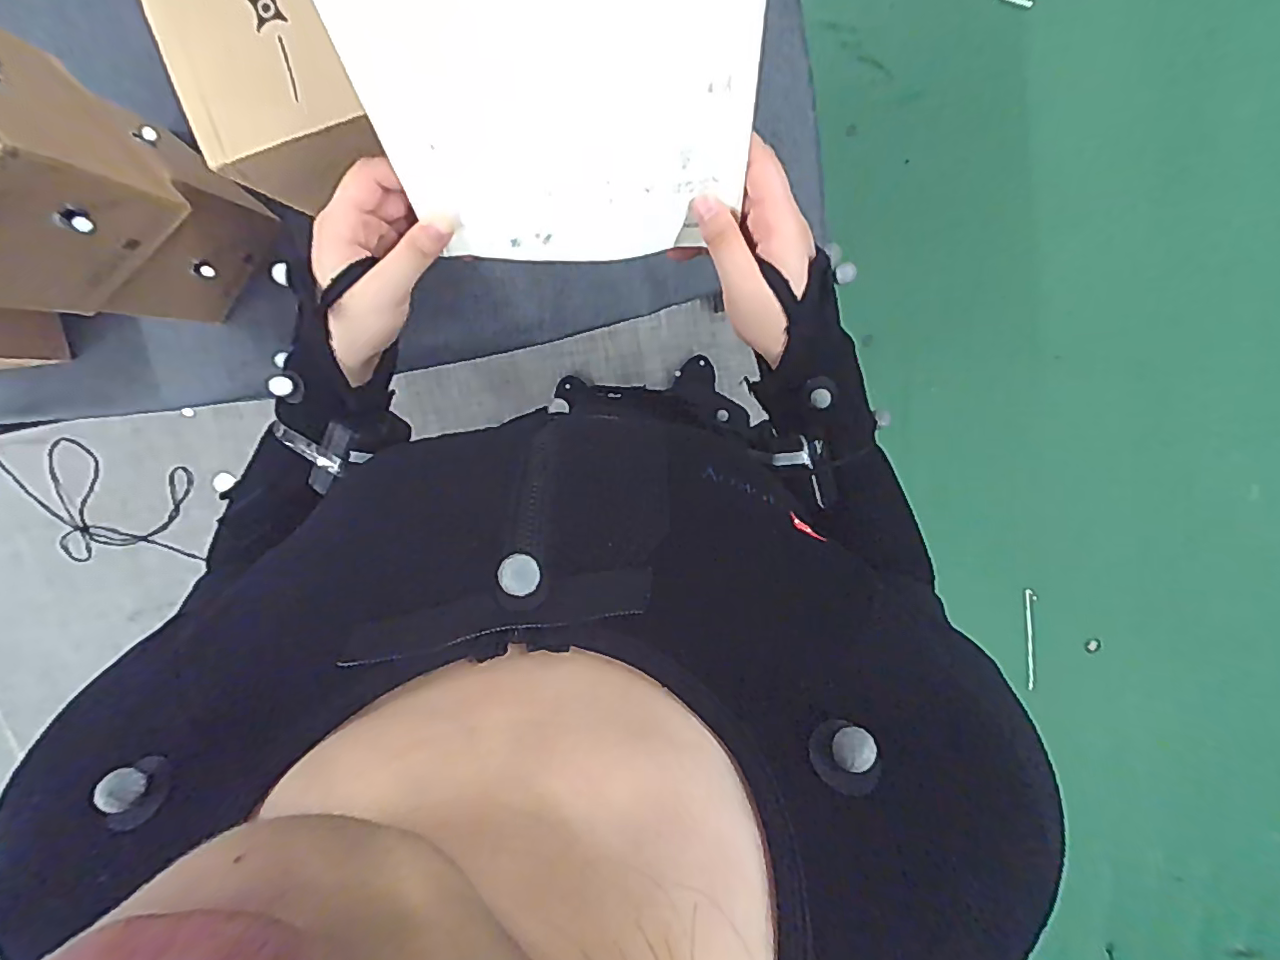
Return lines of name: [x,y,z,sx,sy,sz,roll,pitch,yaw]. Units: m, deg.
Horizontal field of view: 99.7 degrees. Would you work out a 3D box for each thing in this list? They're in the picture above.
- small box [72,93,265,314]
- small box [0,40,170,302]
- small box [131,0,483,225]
small box: [-0.583,-0.307,0.612,0.179,0.176,0.168,39,99,-6]
small box: [-0.569,-0.269,0.454,0.168,0.176,0.179,-39,98,7]
small box: [-0.248,-0.333,0.432,0.168,0.176,0.179,-15,101,5]
